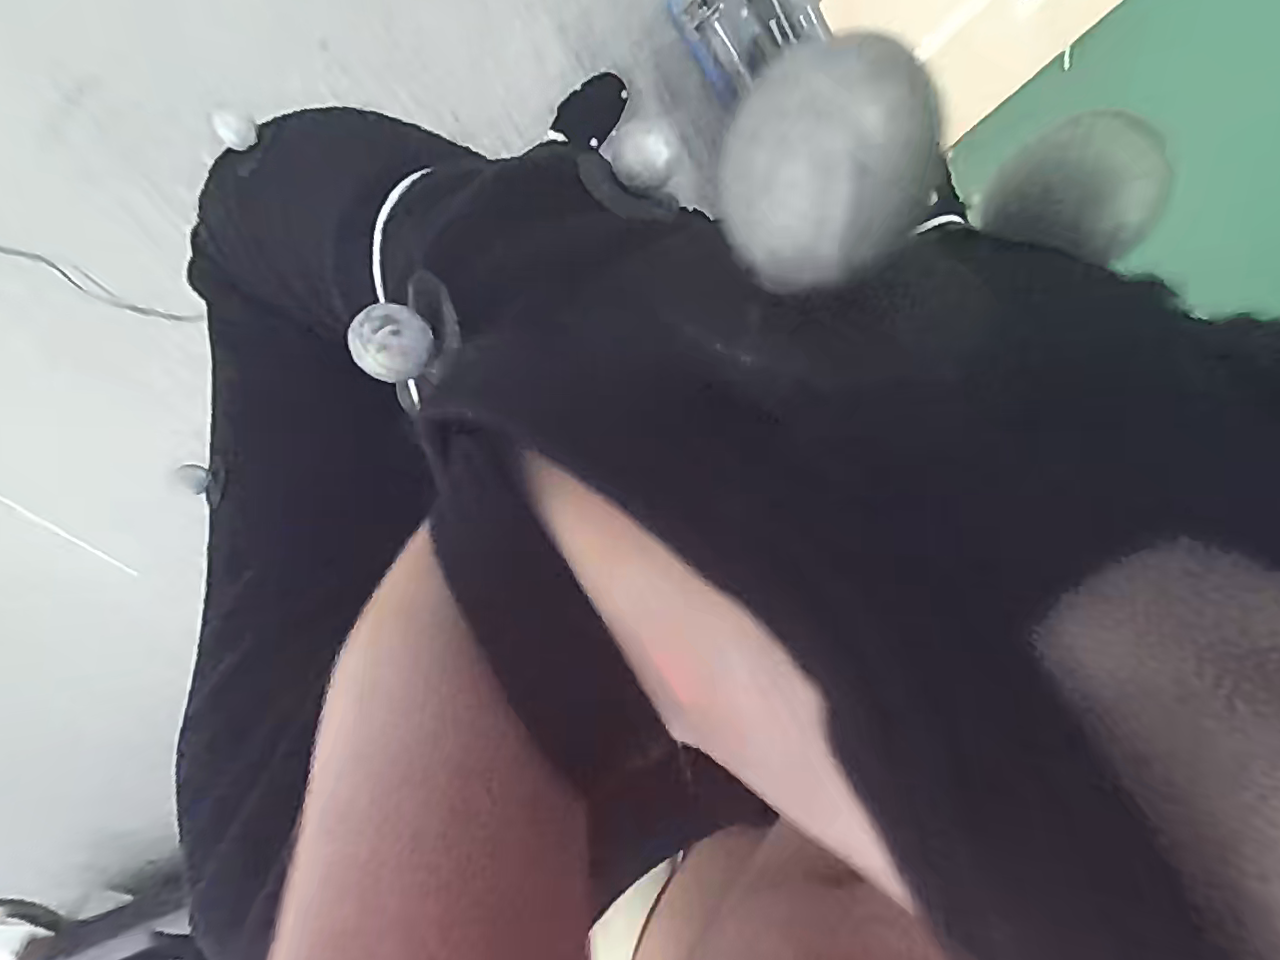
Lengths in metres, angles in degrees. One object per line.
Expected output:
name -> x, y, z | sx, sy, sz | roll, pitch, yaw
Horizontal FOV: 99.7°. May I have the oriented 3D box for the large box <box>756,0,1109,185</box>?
large box -> 0.478, -0.803, 0.937 | 0.408, 0.320, 0.320 | -38, 121, 20
